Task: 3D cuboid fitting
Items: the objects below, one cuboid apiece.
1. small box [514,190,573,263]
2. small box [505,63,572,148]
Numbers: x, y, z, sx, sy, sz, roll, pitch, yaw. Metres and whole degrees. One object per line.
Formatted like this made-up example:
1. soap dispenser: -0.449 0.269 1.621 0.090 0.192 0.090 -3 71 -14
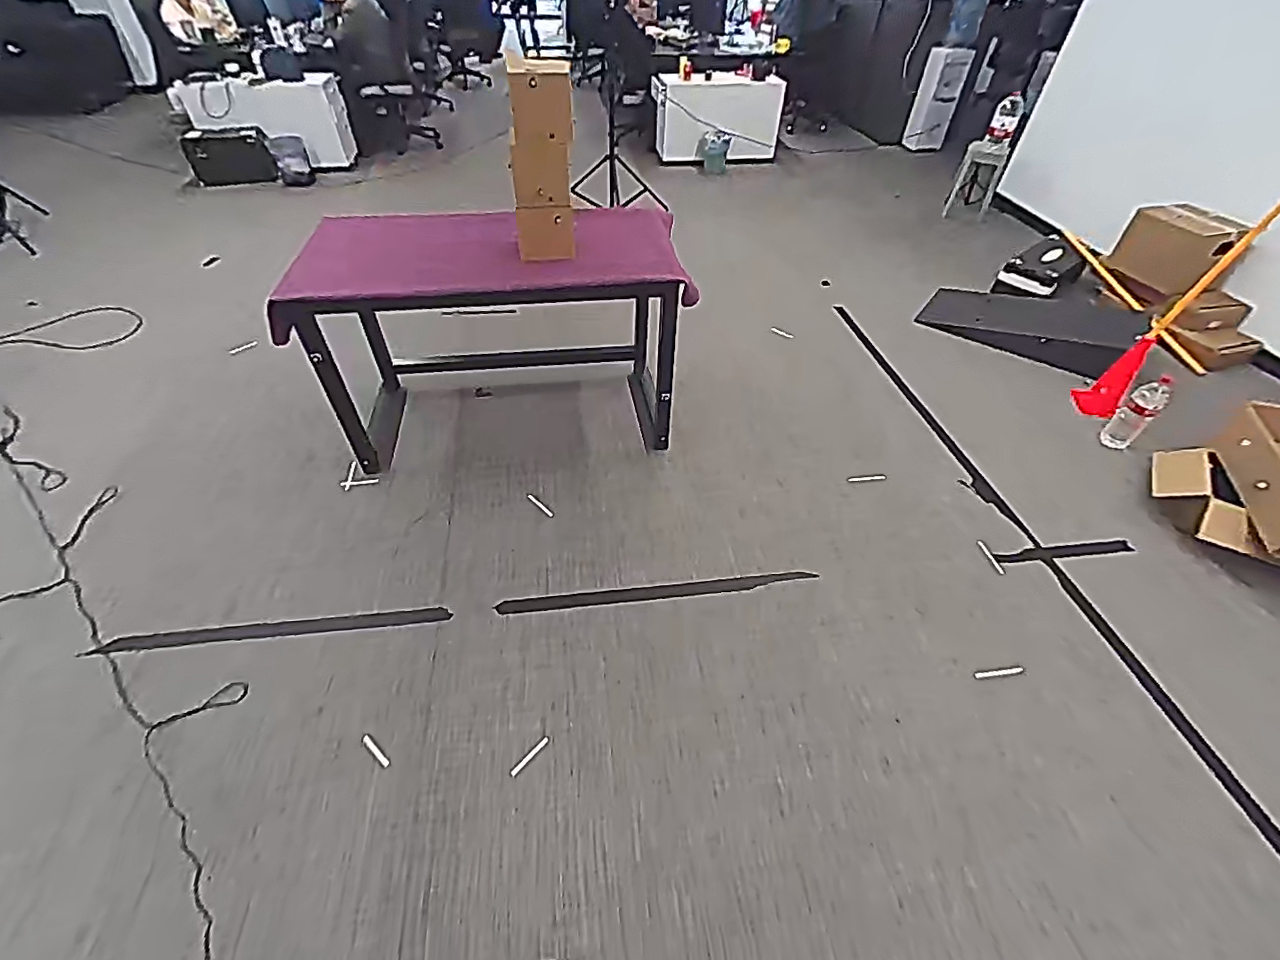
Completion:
1. small box: -0.310 -0.820 1.750 0.179 0.176 0.168 -7 46 -7
2. small box: -0.284 -1.052 1.518 0.168 0.176 0.179 -7 46 -8
